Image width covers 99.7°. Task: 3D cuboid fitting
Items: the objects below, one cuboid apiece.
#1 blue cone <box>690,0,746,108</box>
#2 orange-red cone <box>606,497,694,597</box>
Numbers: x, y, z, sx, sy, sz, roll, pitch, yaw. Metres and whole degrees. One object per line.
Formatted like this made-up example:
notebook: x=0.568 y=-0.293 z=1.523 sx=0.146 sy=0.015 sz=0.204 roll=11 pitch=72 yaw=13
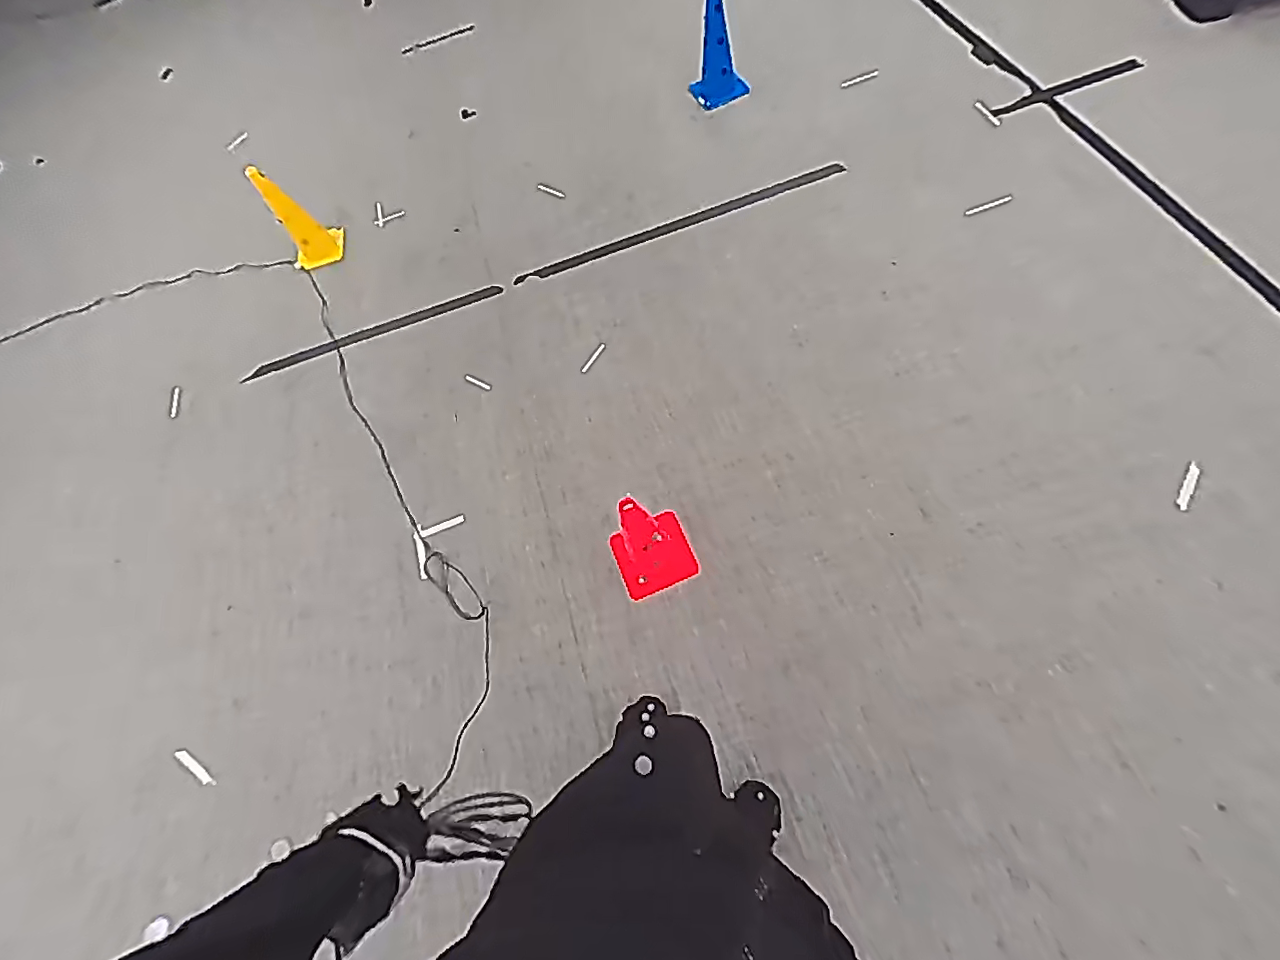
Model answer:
blue cone: x=0.284 y=-1.657 z=2.046 sx=0.193 sy=0.380 sz=0.192 roll=-23 pitch=64 yaw=0
orange-red cone: x=-0.004 y=0.122 z=1.281 sx=0.199 sy=0.360 sz=0.198 roll=-22 pitch=64 yaw=-1
